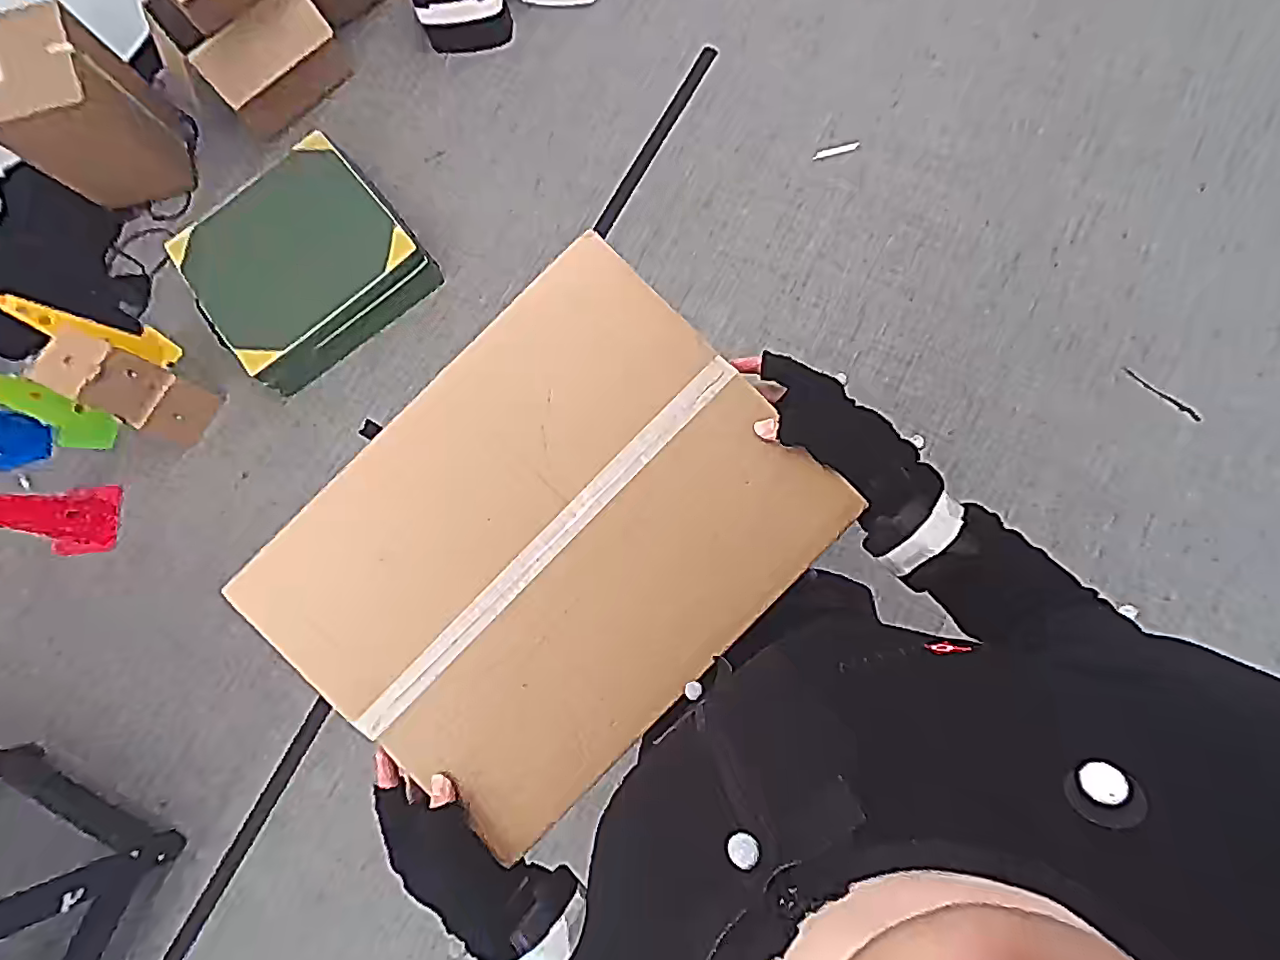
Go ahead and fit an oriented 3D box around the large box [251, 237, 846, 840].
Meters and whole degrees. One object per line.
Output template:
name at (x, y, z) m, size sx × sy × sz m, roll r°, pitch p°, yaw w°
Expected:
large box at (-0.076, 0.049, 0.586) m, size 0.320 × 0.320 × 0.408 m, roll 45°, pitch 89°, yaw -1°
